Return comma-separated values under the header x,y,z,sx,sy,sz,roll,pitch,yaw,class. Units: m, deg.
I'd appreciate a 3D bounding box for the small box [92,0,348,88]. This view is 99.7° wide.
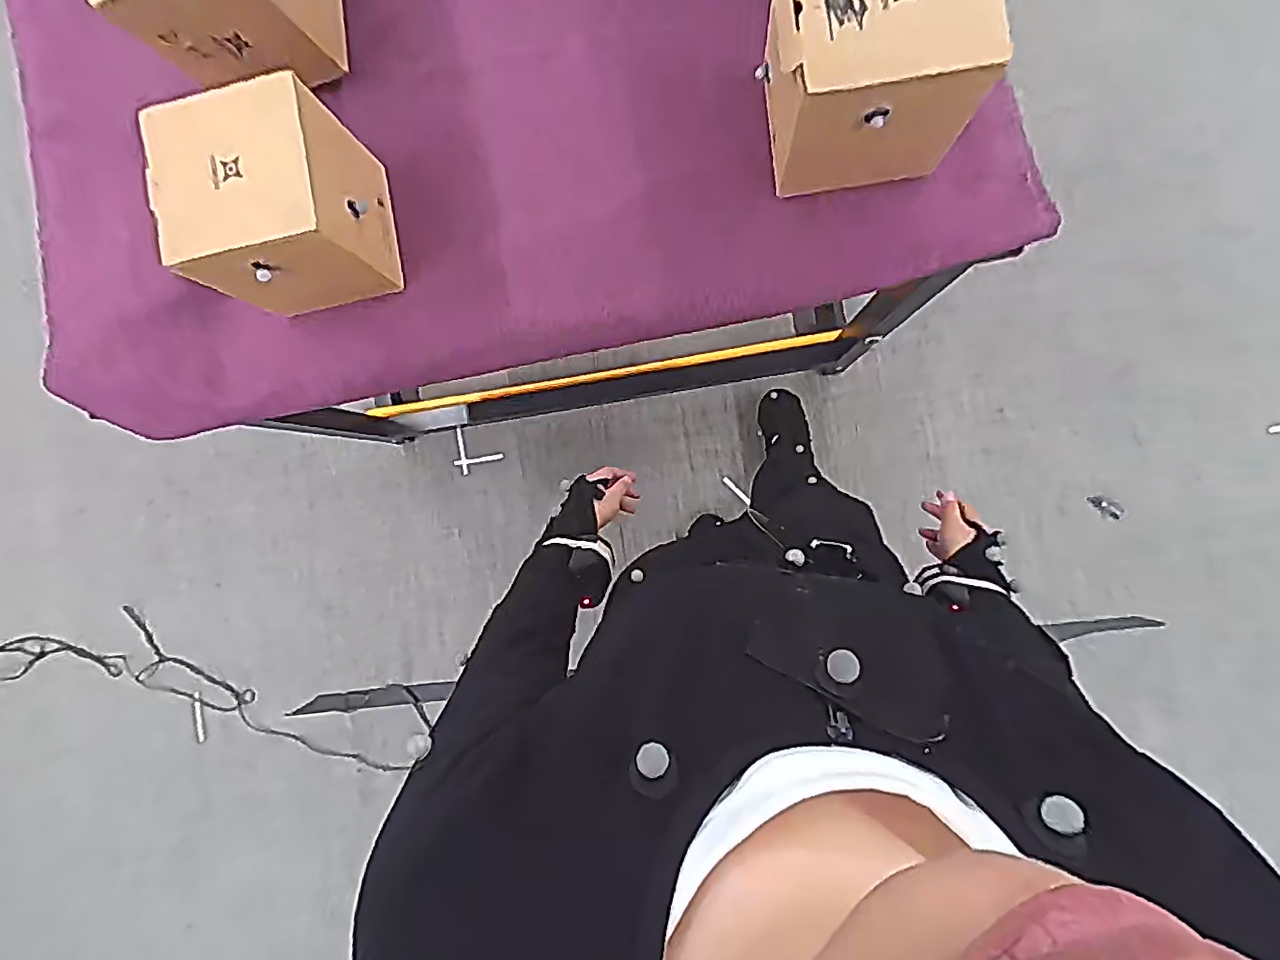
x,y,z,sx,sy,sz,roll,pitch,yaw,class
-0.469,-0.575,0.610,0.179,0.168,0.176,-6,88,13,small box

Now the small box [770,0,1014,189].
x,y,z,sx,sy,sz,roll,pitch,yaw,class
0.230,-0.423,0.545,0.179,0.176,0.168,-6,88,6,small box

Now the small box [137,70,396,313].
x,y,z,sx,sy,sz,roll,pitch,yaw,class
-0.402,-0.308,0.616,0.179,0.176,0.168,-10,89,6,small box
